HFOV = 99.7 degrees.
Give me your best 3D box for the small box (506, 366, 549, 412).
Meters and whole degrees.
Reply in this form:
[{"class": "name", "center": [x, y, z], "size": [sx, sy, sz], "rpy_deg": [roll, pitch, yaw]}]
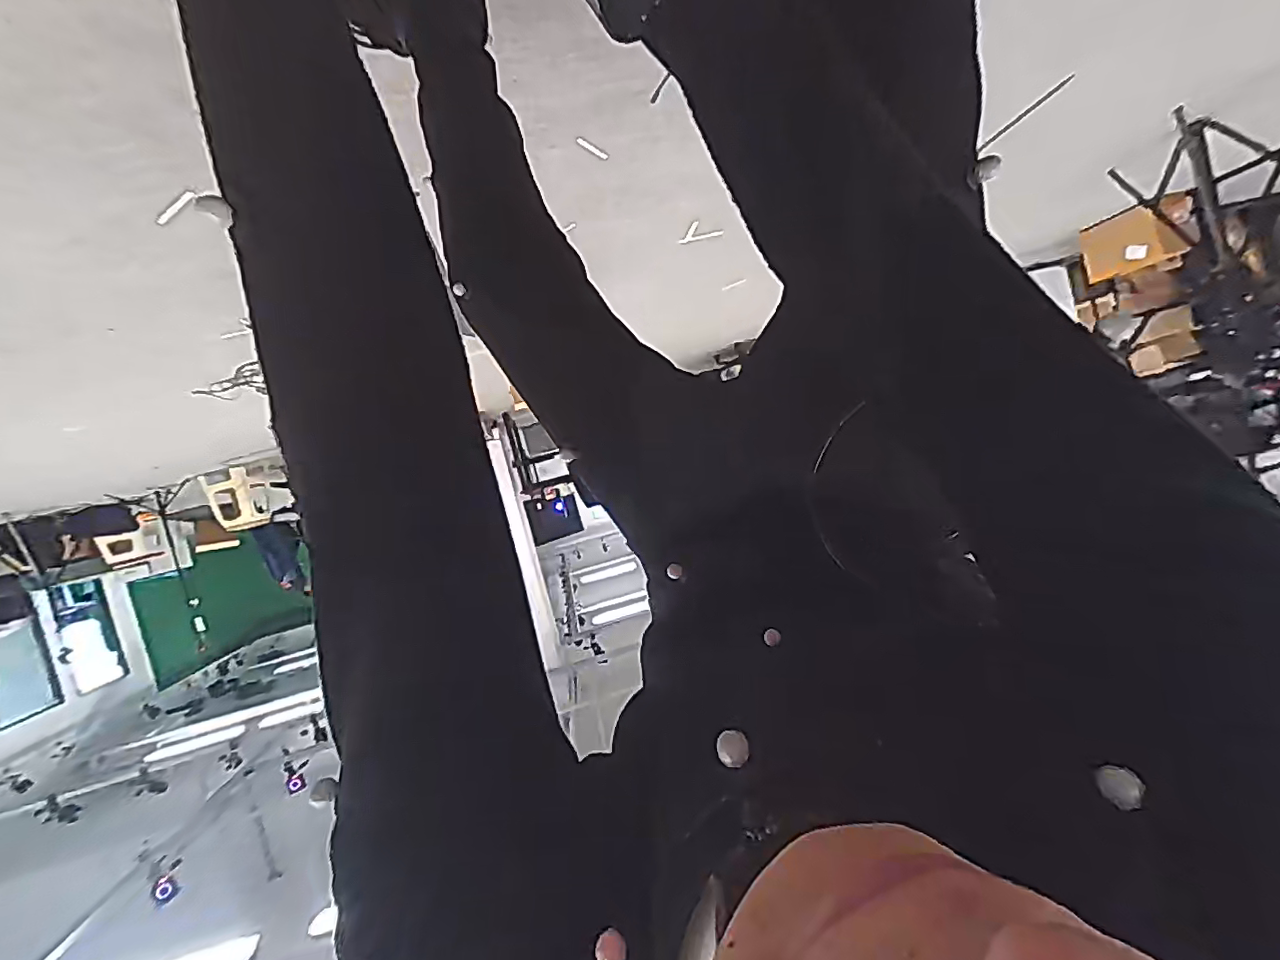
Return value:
[{"class": "small box", "center": [-0.534, -0.432, 2.561], "size": [0.168, 0.176, 0.179], "rpy_deg": [-16, -179, -11]}]
